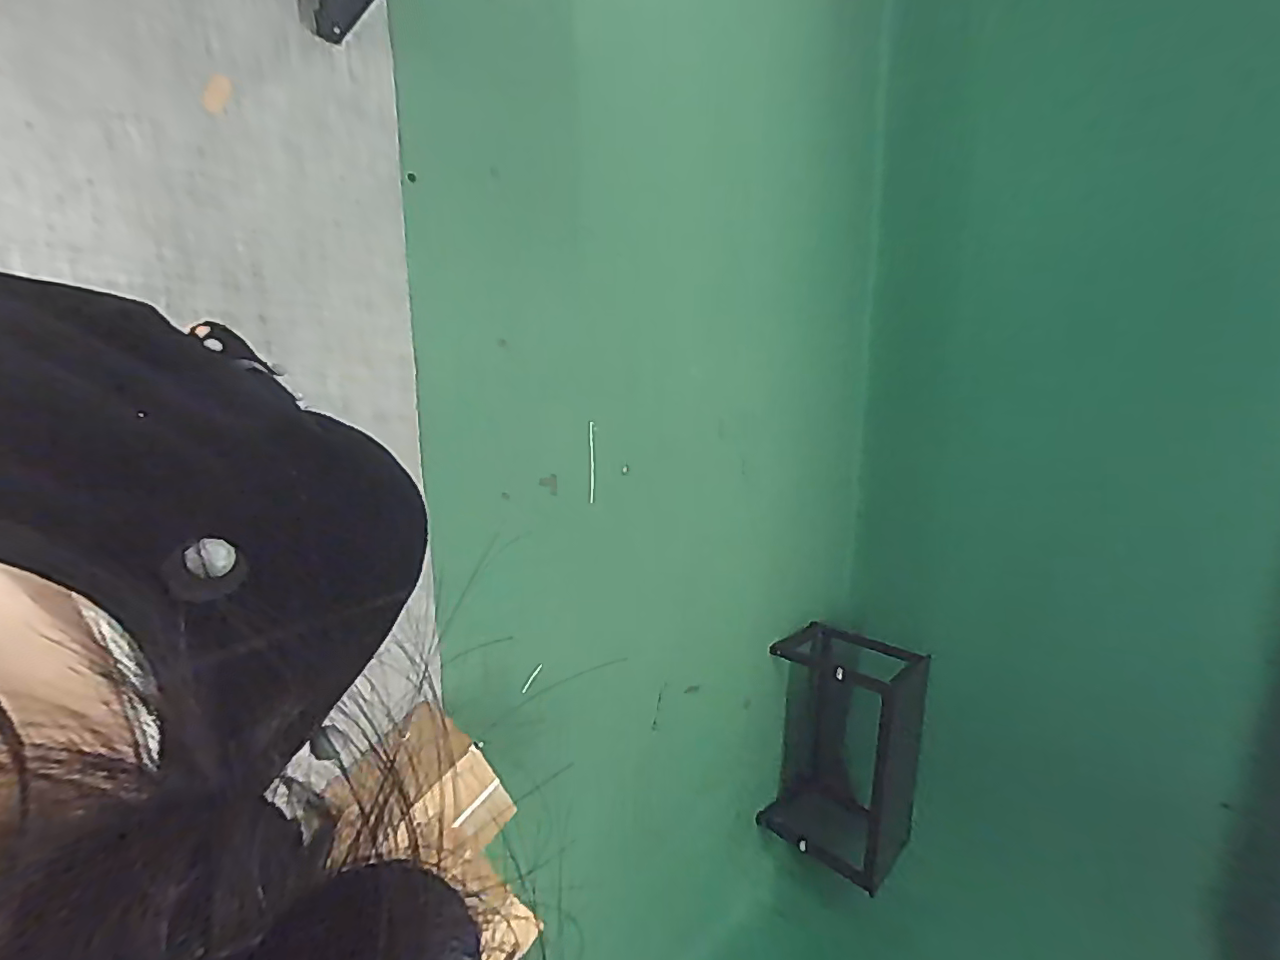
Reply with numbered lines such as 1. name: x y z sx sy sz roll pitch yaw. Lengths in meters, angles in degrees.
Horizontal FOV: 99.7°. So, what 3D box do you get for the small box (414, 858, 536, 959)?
1. small box: -0.375 1.018 1.236 0.168 0.176 0.179 -44 127 -34
